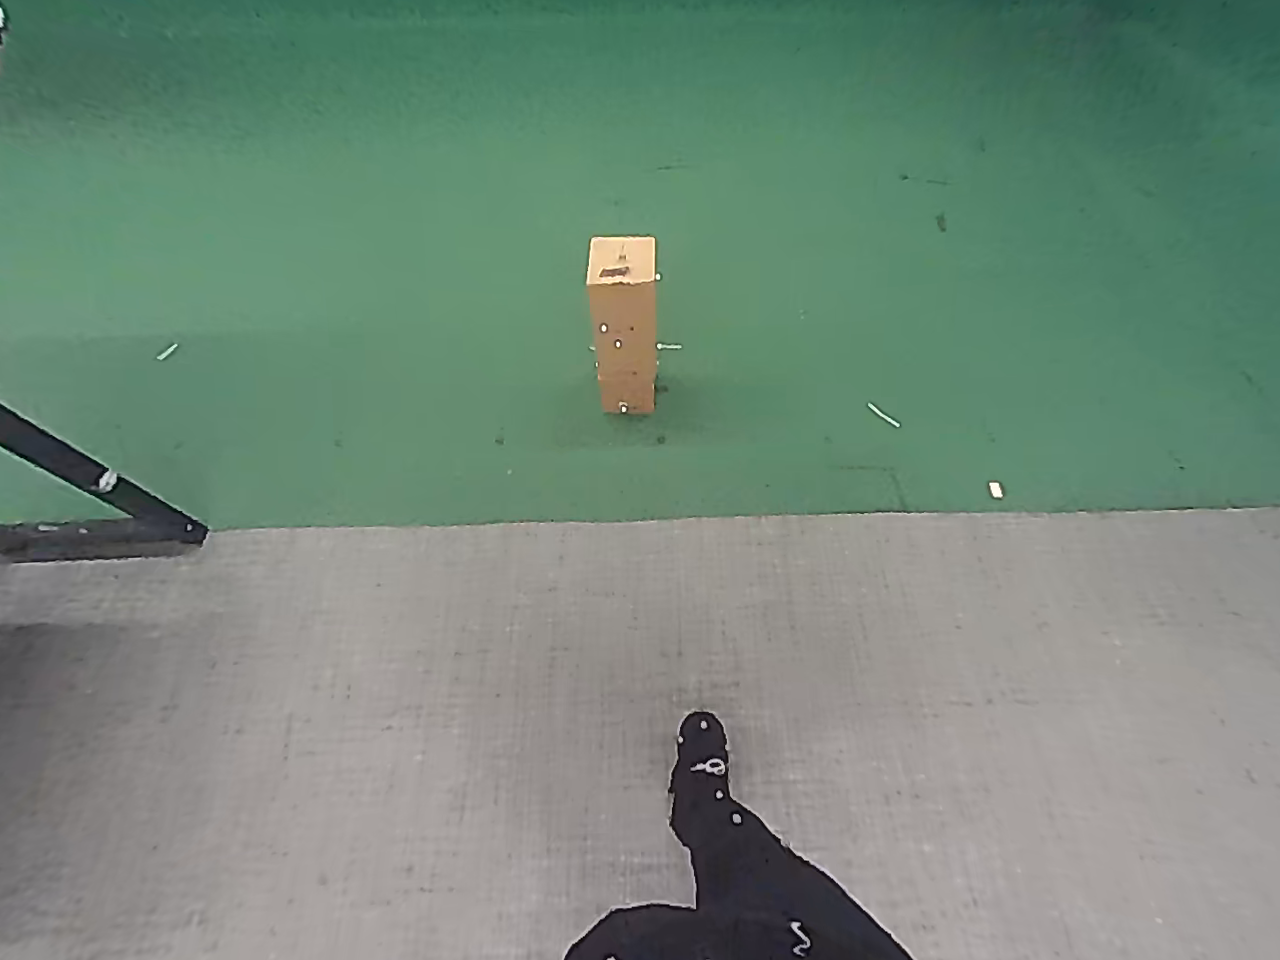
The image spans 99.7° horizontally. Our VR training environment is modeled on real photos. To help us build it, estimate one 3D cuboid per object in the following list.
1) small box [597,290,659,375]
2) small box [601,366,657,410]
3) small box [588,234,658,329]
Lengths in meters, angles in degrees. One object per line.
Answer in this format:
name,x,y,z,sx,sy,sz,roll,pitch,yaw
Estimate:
small box,-0.030,-0.424,1.544,0.168,0.176,0.179,1,60,3
small box,-0.030,-0.339,1.684,0.168,0.176,0.179,0,62,2
small box,-0.037,-0.511,1.404,0.168,0.176,0.179,1,59,2
